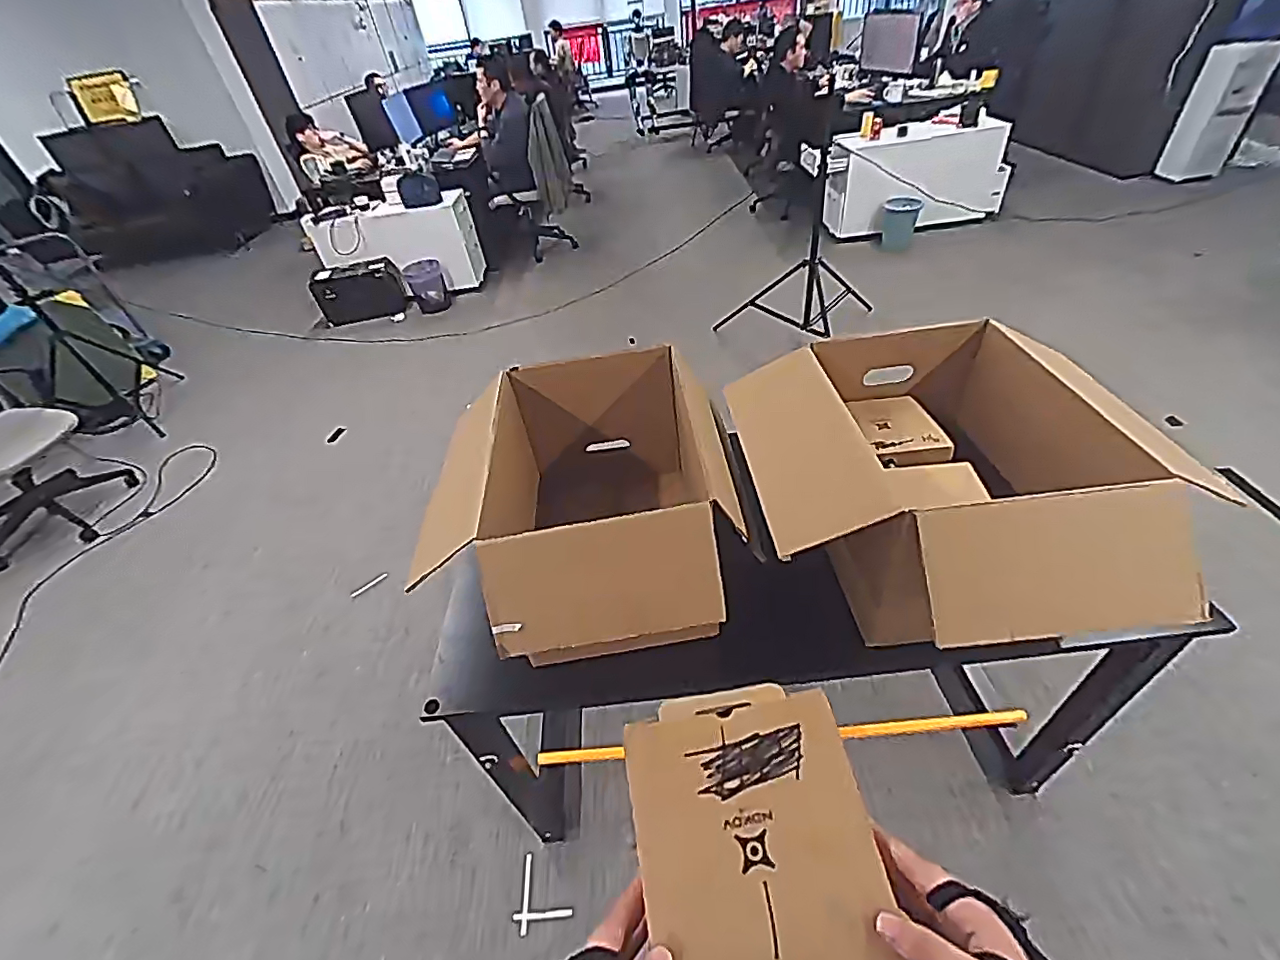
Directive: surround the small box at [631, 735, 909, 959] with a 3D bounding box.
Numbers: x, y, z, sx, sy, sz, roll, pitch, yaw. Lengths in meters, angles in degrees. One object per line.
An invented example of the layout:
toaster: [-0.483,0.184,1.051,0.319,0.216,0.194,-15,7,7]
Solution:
small box: [0.089,0.324,0.433,0.168,0.176,0.179,-10,57,-1]
